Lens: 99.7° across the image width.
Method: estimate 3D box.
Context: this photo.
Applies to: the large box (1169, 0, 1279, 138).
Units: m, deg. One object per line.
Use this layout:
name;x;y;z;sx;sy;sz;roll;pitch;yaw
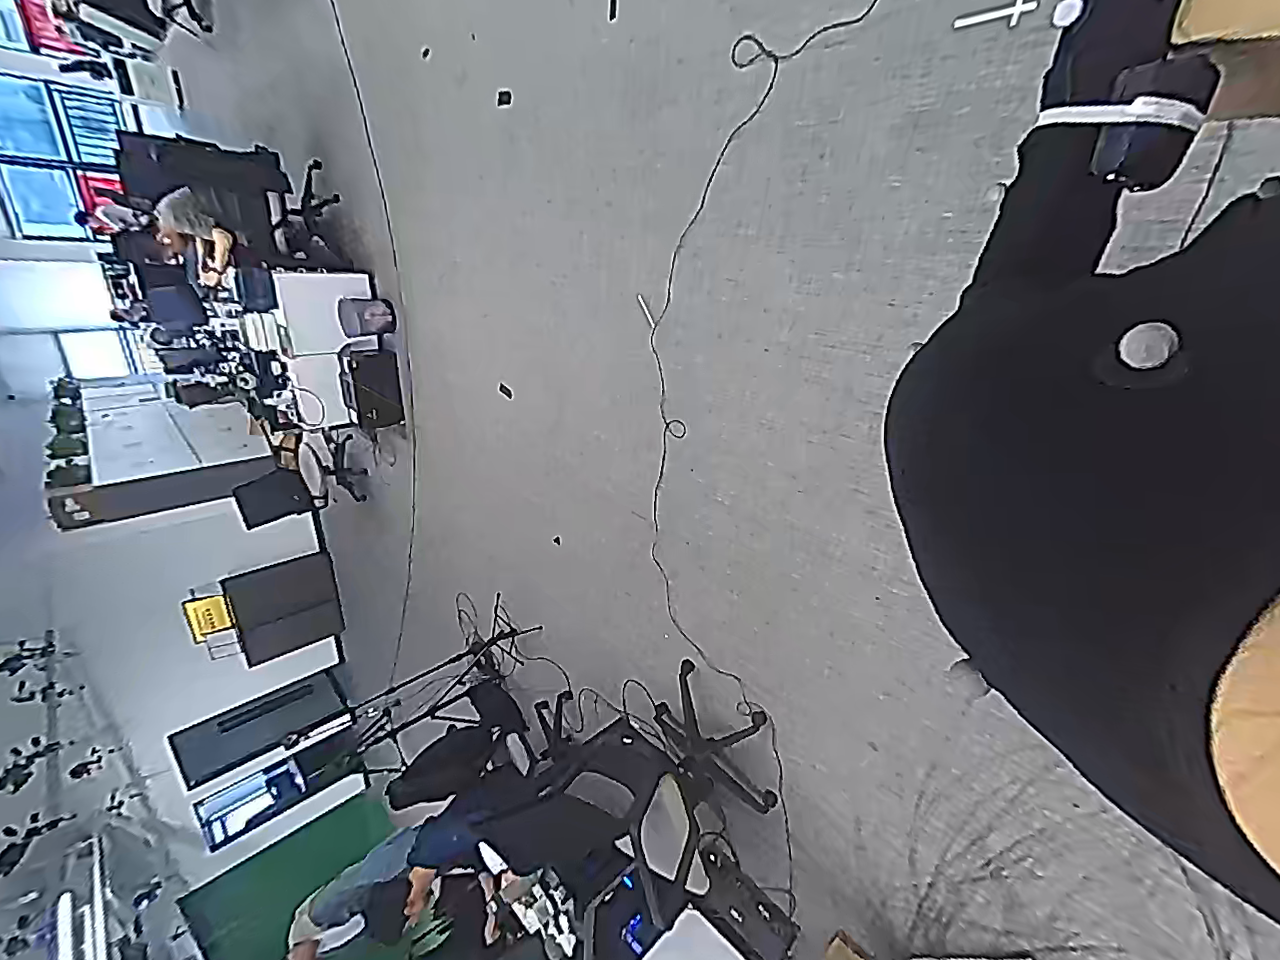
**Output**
large box;0.590;-0.380;0.266;0.408;0.320;0.320;25;124;37
